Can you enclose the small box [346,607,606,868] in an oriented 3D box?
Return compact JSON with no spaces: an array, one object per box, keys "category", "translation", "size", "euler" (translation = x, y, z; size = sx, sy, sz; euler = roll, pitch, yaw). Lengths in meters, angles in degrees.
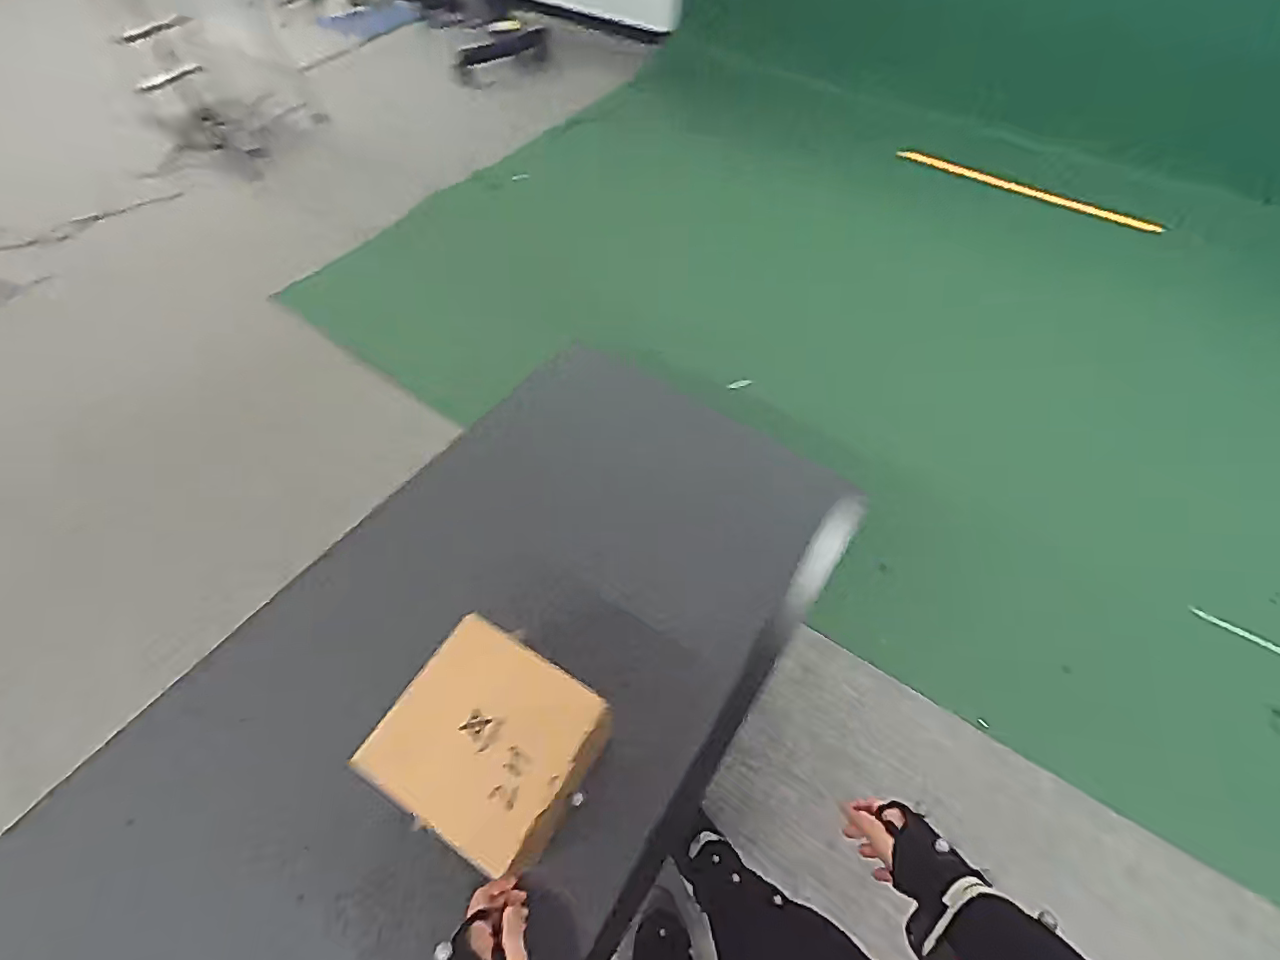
[{"category":"small box","translation":[-0.151,0.269,0.564],"size":[0.179,0.176,0.168],"euler":[26,60,17]}]
